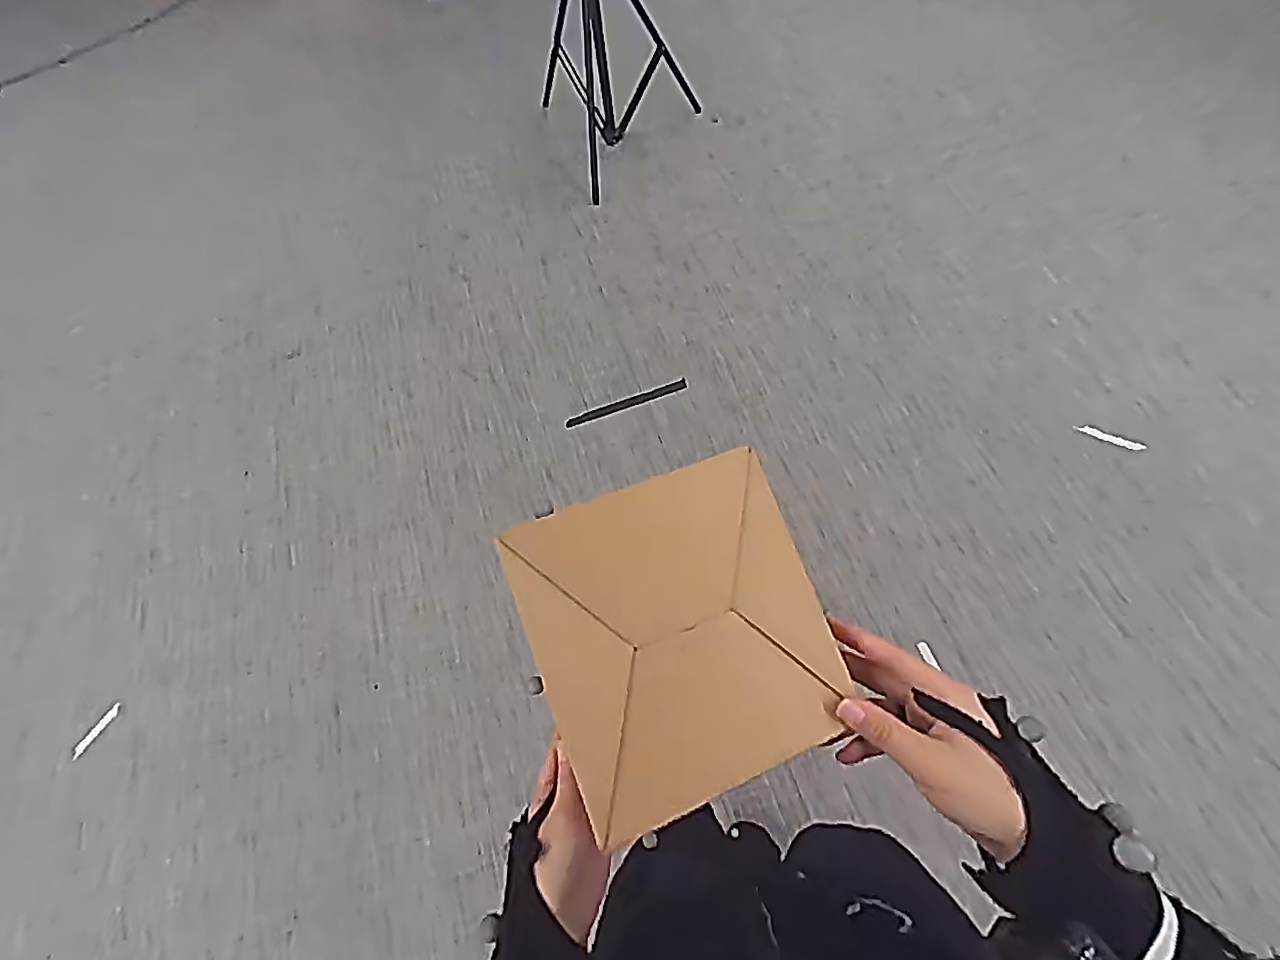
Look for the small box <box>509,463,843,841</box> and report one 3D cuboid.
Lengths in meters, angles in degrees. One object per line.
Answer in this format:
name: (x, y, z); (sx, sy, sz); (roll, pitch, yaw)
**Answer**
small box: (0.011, 0.103, 0.385); (0.168, 0.176, 0.179); (-19, 81, -14)
